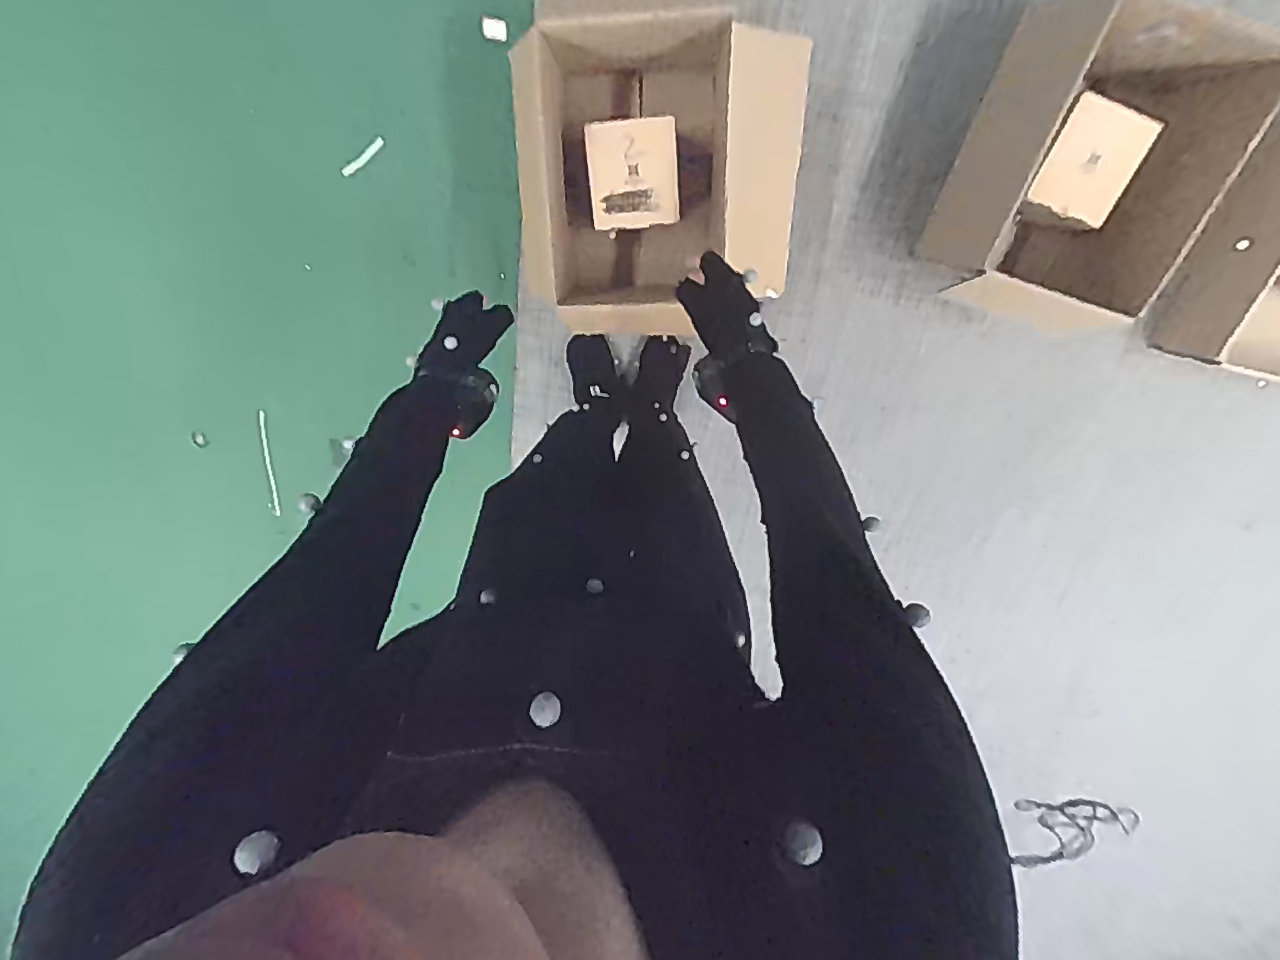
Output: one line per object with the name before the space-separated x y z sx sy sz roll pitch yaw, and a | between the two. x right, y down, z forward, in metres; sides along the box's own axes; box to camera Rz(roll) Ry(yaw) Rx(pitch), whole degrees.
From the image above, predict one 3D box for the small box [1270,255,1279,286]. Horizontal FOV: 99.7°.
small box | 1.444 -0.453 1.073 0.168 0.176 0.179 14 113 -6
